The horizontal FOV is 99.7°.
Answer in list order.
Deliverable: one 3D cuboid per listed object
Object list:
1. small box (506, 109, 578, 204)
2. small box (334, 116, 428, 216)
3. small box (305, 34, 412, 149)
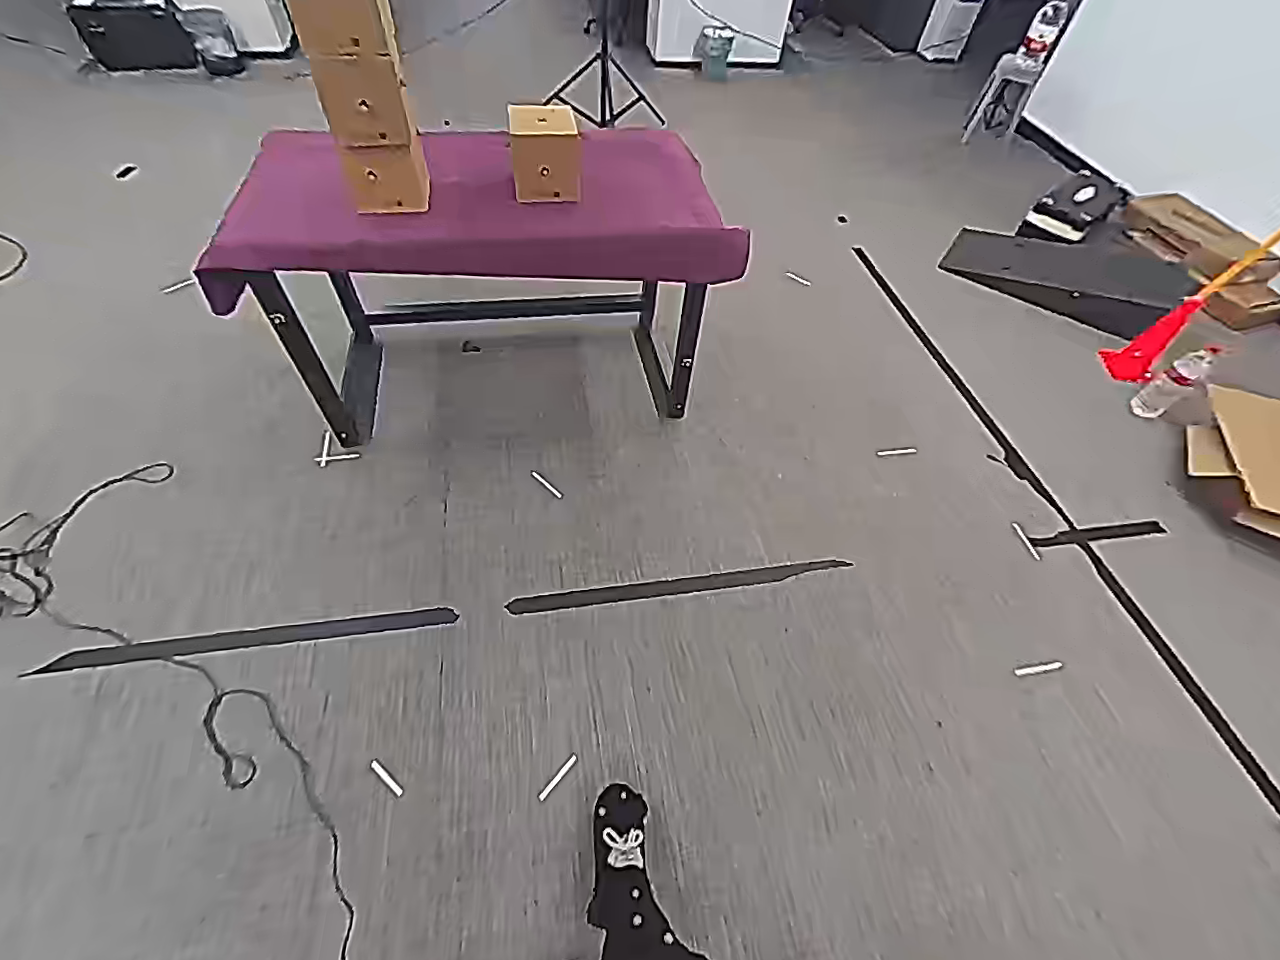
[{"bbox_3d":[-0.255,-0.846,1.420,0.168,0.176,0.179,-6,54,-10],"label":"small box"},{"bbox_3d":[-0.630,-0.772,1.337,0.168,0.176,0.179,-7,54,-10],"label":"small box"},{"bbox_3d":[-0.611,-0.853,1.194,0.168,0.176,0.179,-10,55,-13],"label":"small box"}]
